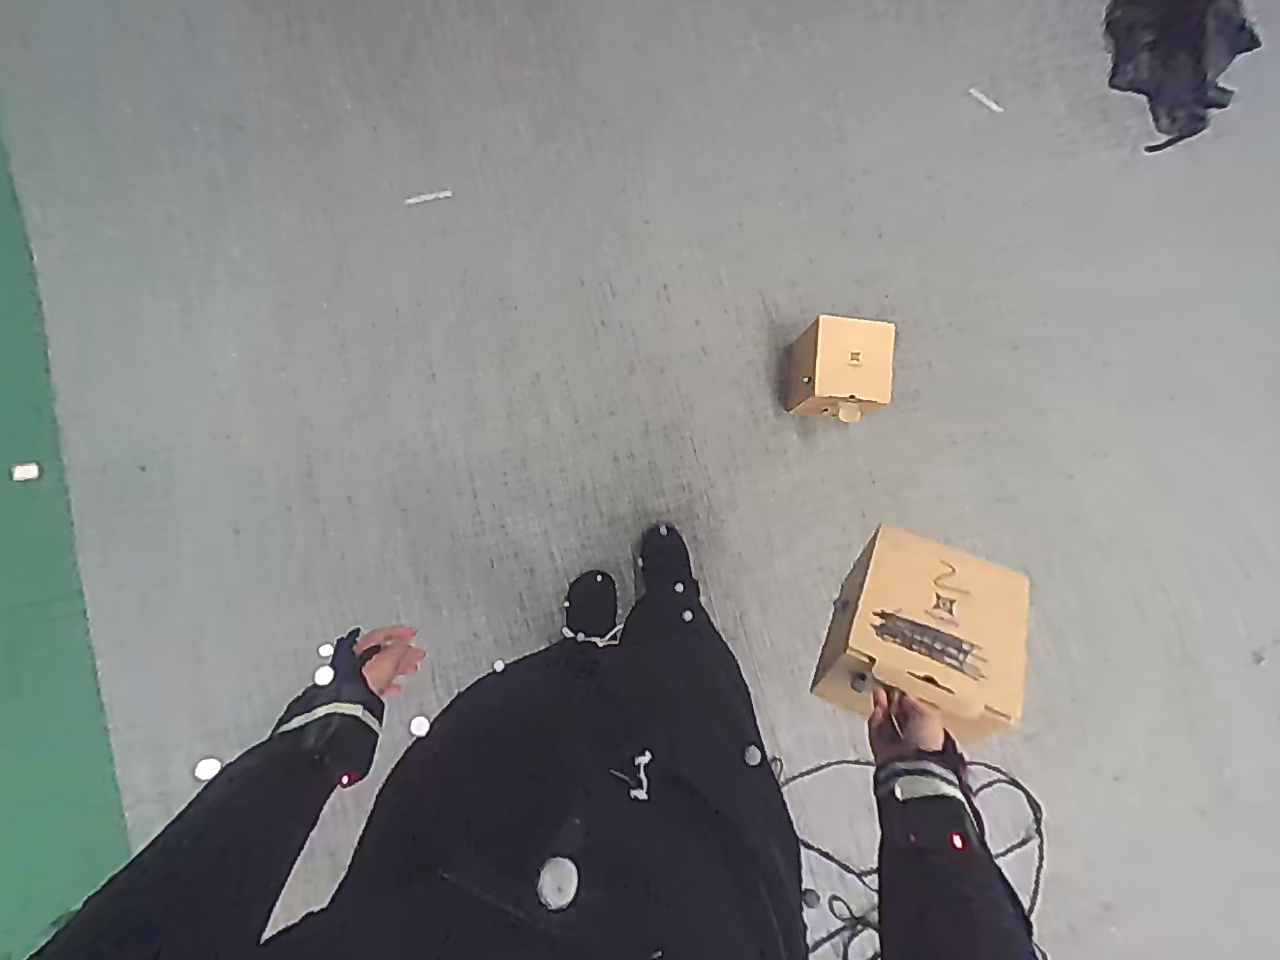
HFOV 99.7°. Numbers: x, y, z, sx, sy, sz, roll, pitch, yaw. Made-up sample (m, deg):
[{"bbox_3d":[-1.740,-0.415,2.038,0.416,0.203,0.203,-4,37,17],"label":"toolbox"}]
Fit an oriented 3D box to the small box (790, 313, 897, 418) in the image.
[{"bbox_3d":[0.443,-0.246,1.196,0.168,0.176,0.179,6,85,-4],"label":"small box"}]
